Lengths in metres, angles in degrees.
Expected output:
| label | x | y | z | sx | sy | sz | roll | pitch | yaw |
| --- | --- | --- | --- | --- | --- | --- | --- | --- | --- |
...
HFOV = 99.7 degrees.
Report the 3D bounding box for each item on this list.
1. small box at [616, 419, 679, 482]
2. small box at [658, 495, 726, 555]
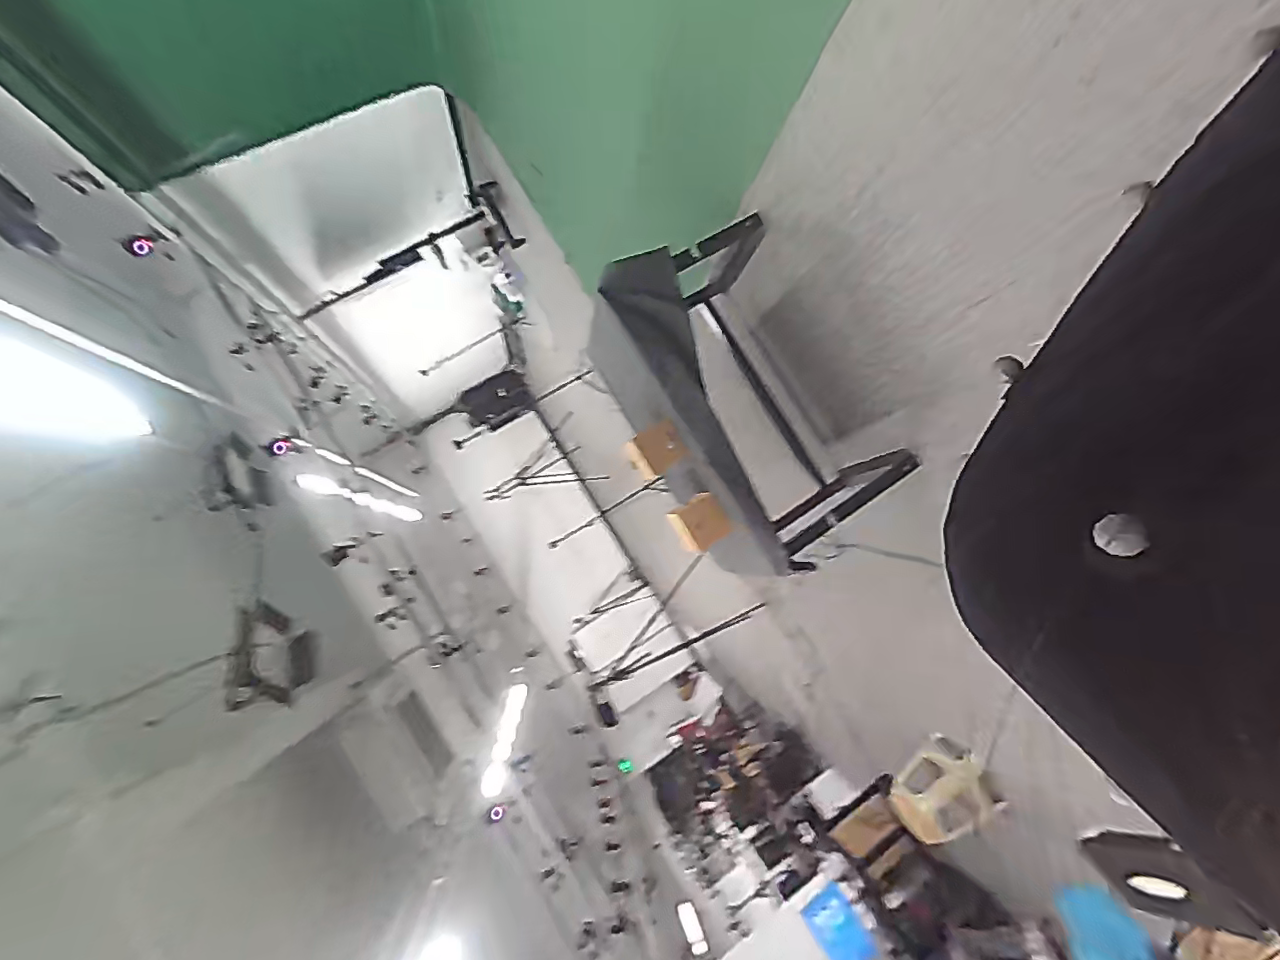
| label | x | y | z | sx | sy | sz | roll | pitch | yaw |
| --- | --- | --- | --- | --- | --- | --- | --- | --- | --- |
| small box | 0.028 | -0.112 | 2.084 | 0.168 | 0.176 | 0.179 | 57 | 166 | 0 |
| small box | 0.201 | 0.166 | 2.087 | 0.179 | 0.176 | 0.168 | 59 | 167 | -4 |
